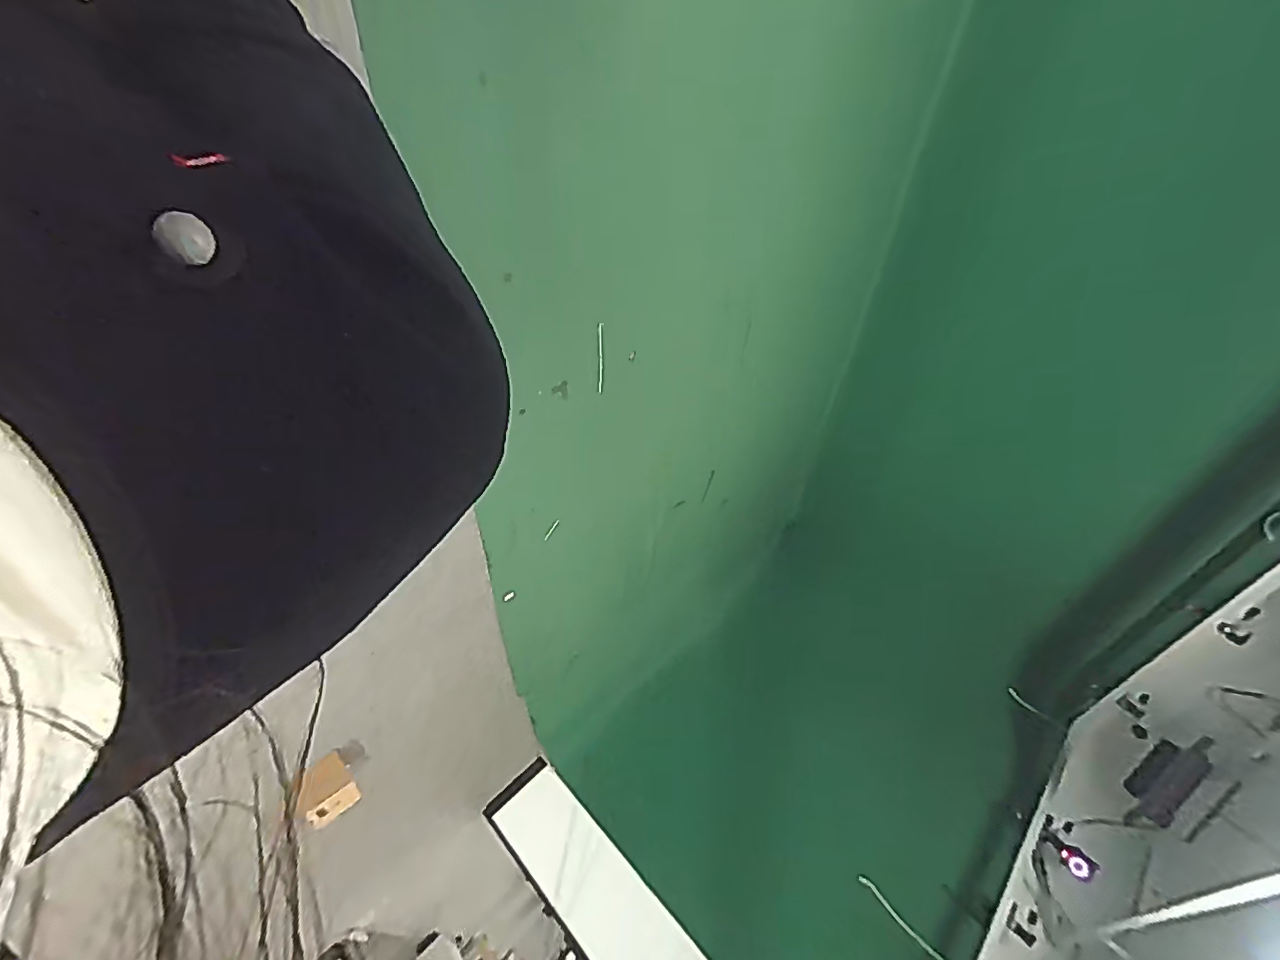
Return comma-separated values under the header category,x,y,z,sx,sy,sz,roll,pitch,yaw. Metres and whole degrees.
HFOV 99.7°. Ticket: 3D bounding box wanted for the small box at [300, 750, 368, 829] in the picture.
category,x,y,z,sx,sy,sz,roll,pitch,yaw
small box,-1.221,1.225,2.147,0.179,0.176,0.168,-31,142,-38
